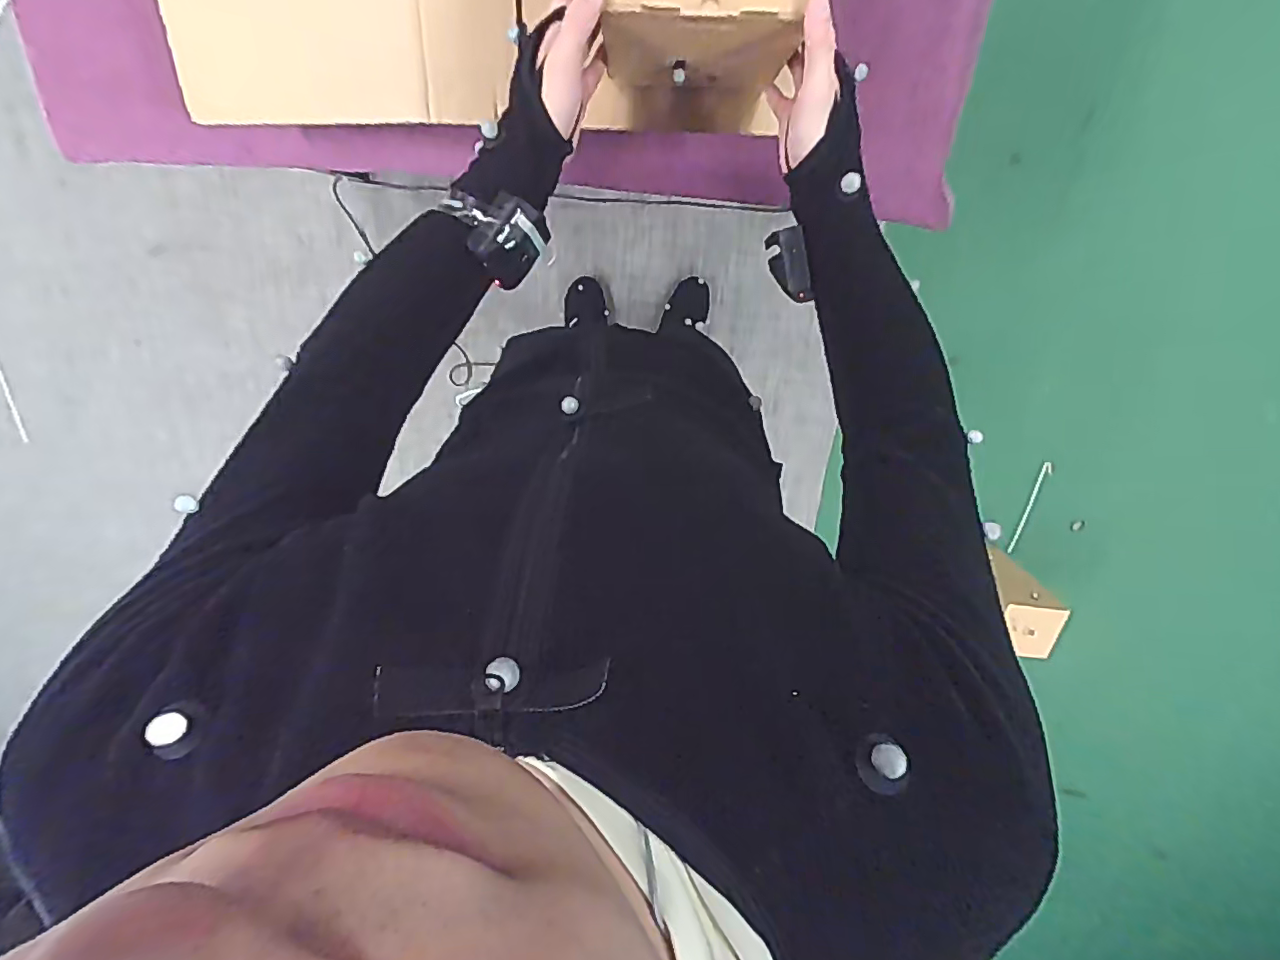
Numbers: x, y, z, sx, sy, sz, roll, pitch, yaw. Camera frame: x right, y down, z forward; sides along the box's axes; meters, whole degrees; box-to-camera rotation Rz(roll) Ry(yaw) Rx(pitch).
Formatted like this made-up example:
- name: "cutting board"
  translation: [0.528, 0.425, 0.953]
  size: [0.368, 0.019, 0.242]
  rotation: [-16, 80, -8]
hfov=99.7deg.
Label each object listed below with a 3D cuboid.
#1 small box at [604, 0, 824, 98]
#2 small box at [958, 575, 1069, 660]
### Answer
- name: "small box"
  translation: [0.055, -0.447, 0.448]
  size: [0.168, 0.176, 0.179]
  rotation: [1, 112, -2]
- name: "small box"
  translation: [1.068, 0.392, 1.562]
  size: [0.179, 0.176, 0.168]
  rotation: [7, 112, -2]
